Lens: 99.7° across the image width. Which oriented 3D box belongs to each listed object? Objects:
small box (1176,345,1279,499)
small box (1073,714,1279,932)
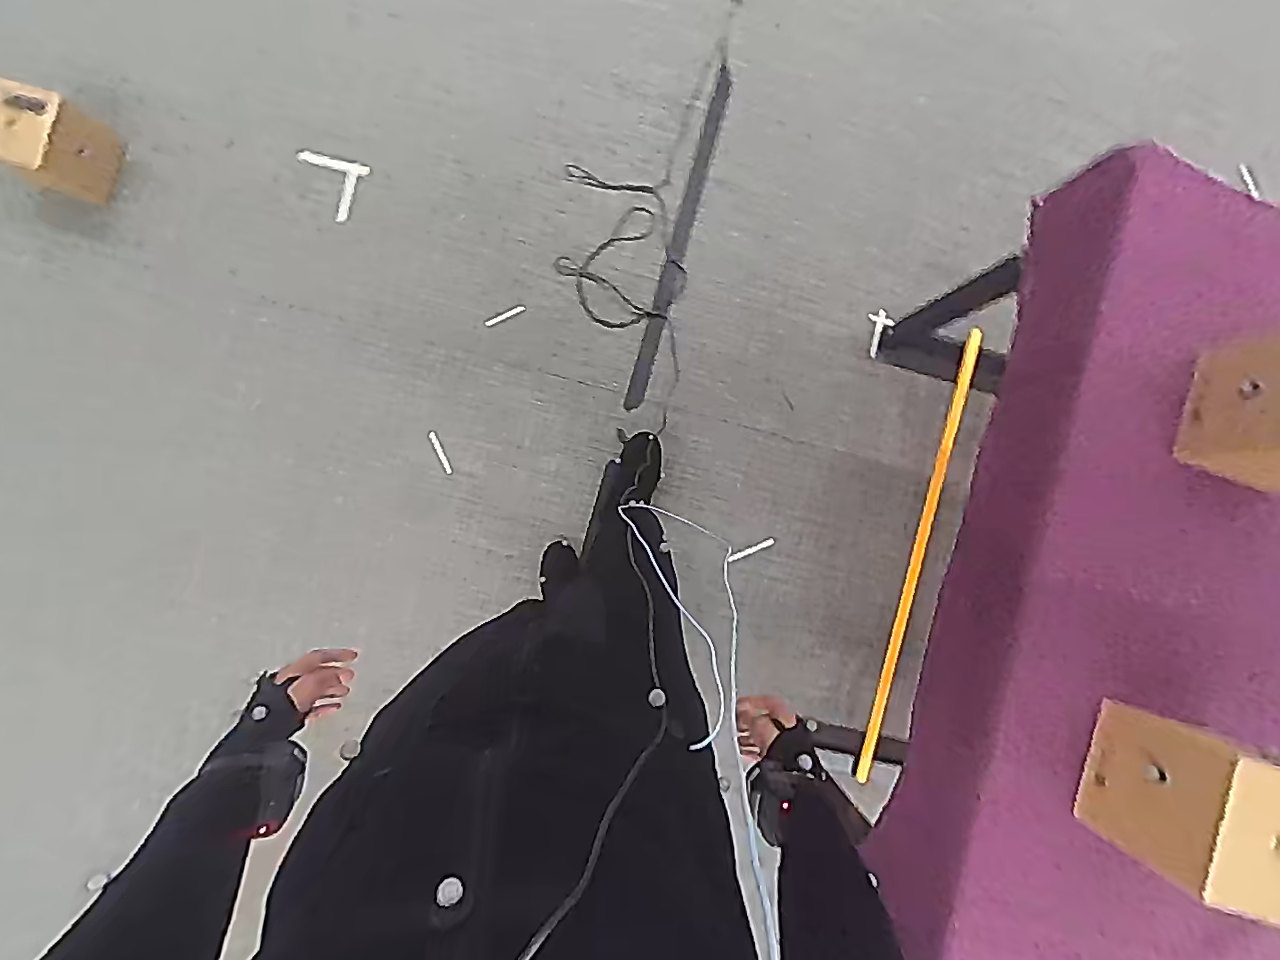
[{"bbox_3d":[0.873,-0.072,0.706,0.179,0.176,0.168,19,88,-4],"label":"small box"},{"bbox_3d":[0.706,0.421,0.683,0.179,0.176,0.168,19,87,-5],"label":"small box"}]
